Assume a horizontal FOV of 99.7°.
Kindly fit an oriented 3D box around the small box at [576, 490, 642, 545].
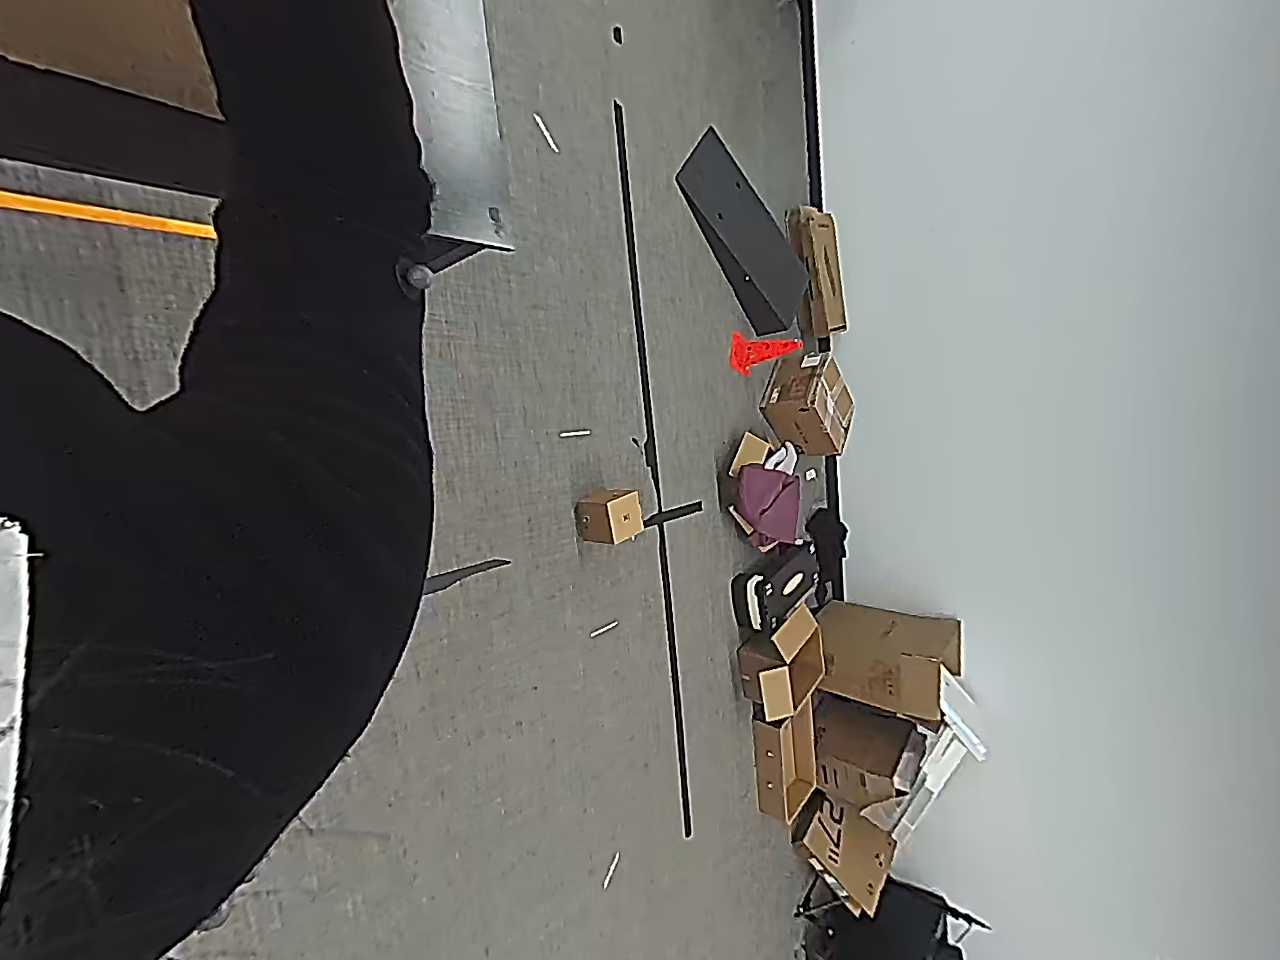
[{"bbox_3d":[-0.121,0.139,2.094,0.179,0.176,0.168,-22,106,-45],"label":"small box"}]
